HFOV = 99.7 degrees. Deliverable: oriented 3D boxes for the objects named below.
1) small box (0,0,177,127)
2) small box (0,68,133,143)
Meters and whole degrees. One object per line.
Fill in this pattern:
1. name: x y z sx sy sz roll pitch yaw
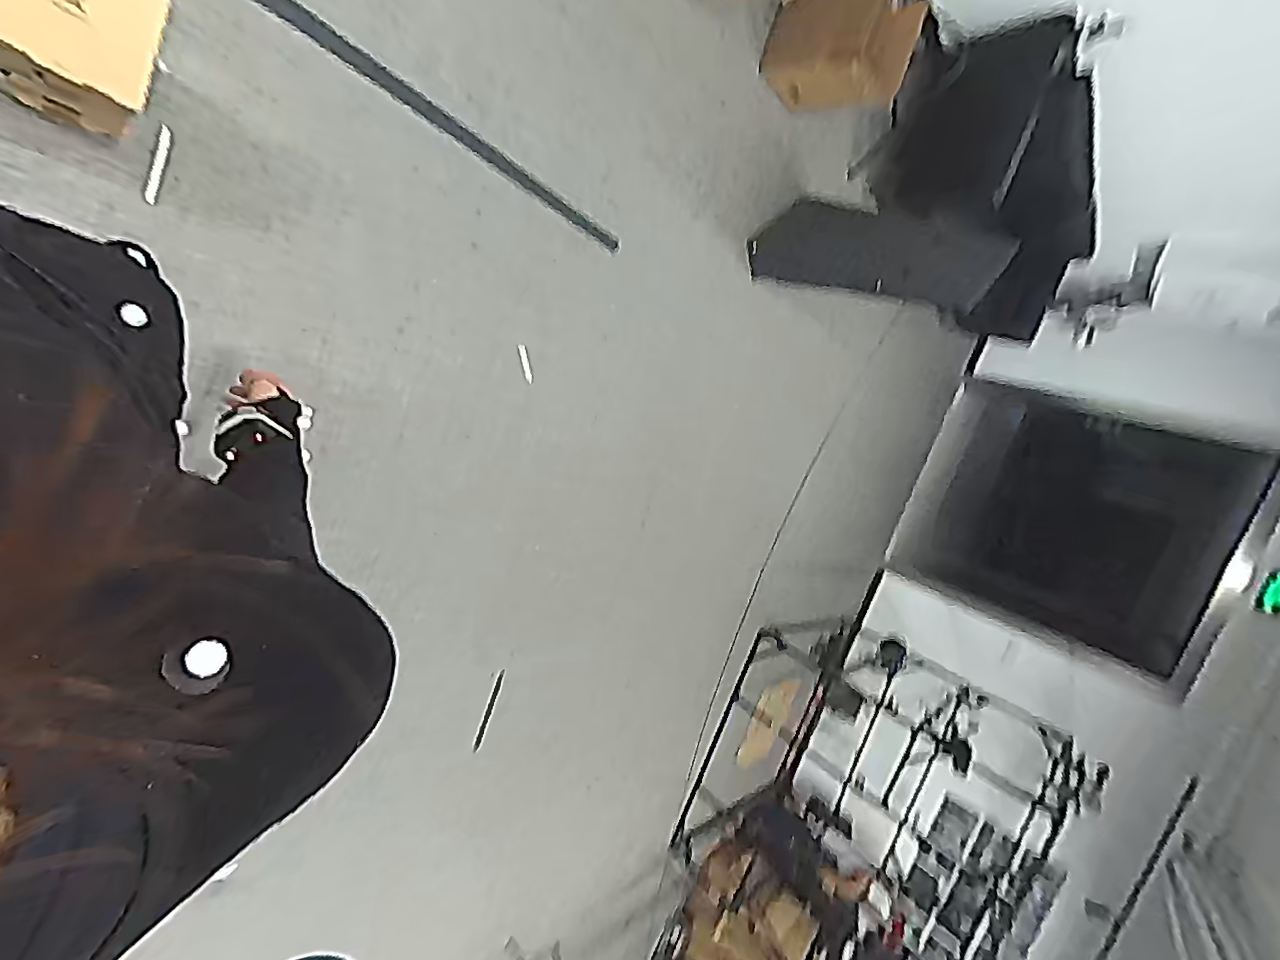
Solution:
1. small box: -0.773 -0.621 0.738 0.168 0.176 0.179 14 100 -51
2. small box: -1.000 -0.726 0.950 0.168 0.176 0.179 9 104 -49
